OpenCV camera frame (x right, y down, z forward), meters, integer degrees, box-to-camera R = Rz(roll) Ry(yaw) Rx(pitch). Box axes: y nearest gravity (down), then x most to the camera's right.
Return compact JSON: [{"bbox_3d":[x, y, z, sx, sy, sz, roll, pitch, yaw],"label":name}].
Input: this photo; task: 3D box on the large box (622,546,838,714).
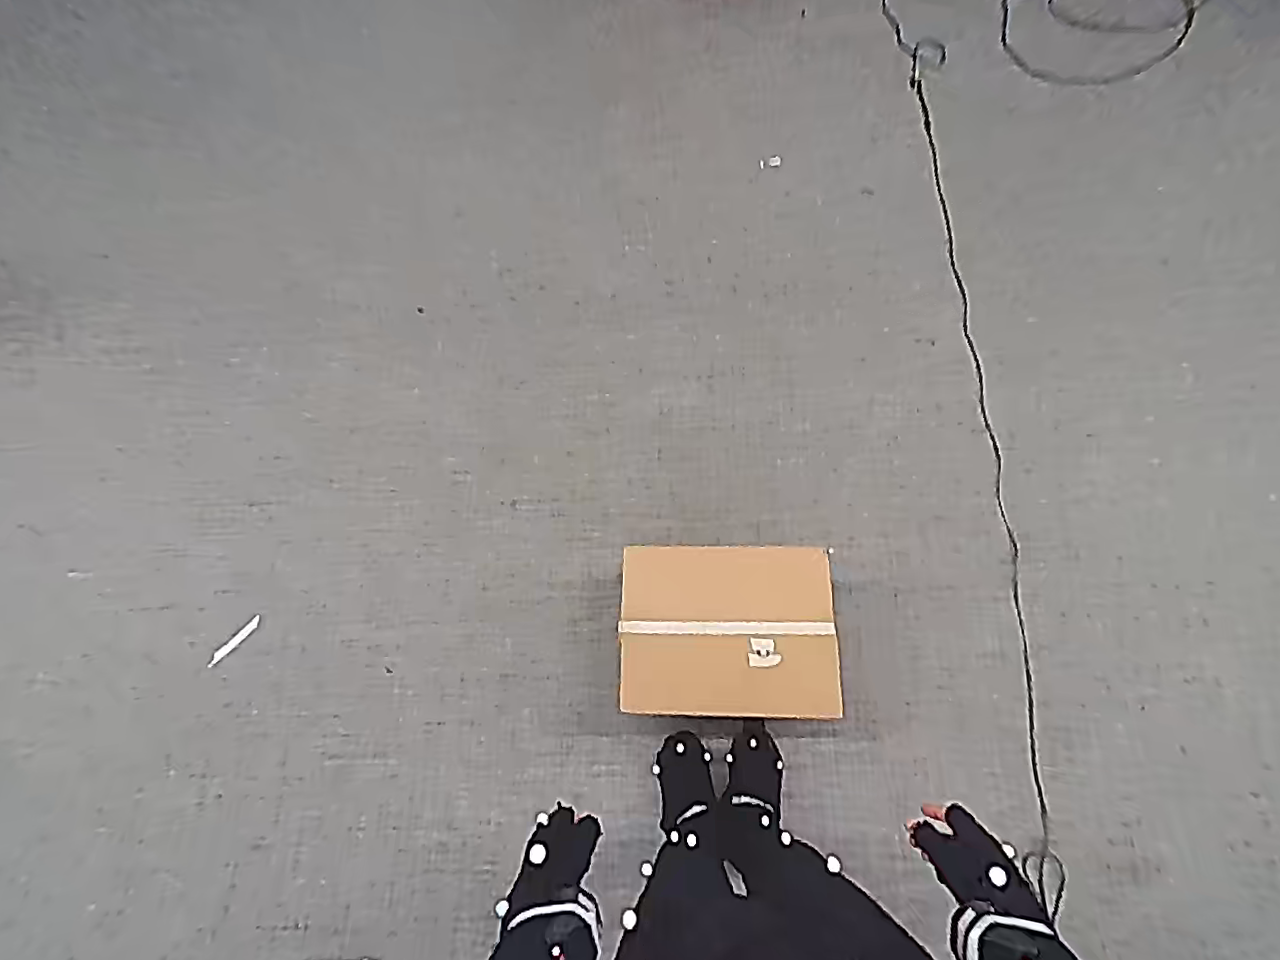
[{"bbox_3d":[0.171,0.327,1.182,0.408,0.320,0.320,-1,73,3],"label":"large box"}]
